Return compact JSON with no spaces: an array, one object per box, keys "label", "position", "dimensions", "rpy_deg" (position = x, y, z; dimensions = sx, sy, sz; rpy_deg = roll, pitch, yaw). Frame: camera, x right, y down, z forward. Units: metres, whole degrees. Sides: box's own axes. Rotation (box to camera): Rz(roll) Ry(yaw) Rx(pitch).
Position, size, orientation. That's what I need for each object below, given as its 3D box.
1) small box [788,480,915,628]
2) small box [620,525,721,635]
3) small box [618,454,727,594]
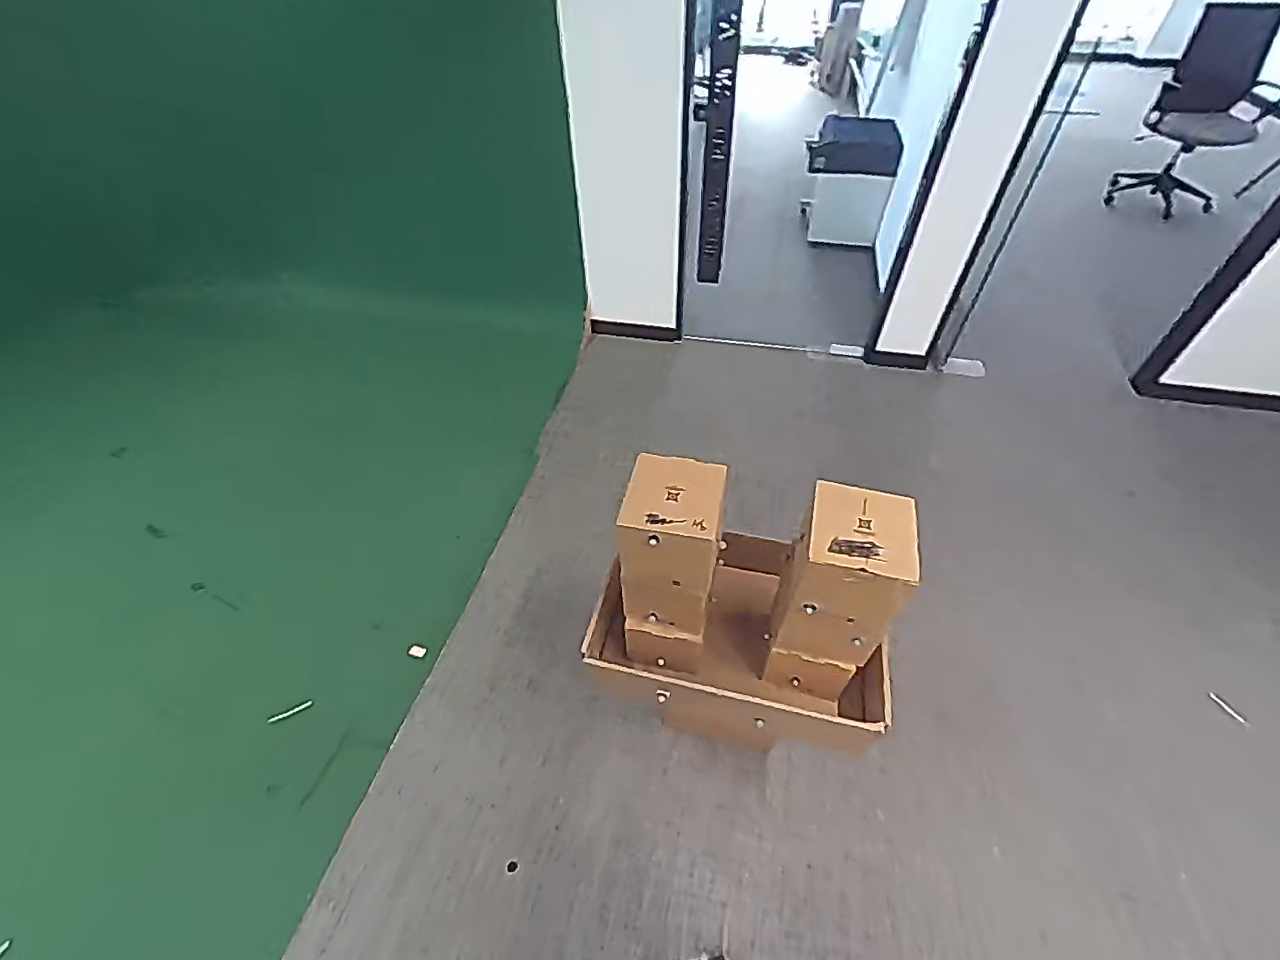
[{"label":"small box","position":[0.360,0.132,0.939],"dimensions":[0.168,0.176,0.179],"rpy_deg":[12,49,11]},{"label":"small box","position":[0.064,0.189,1.118],"dimensions":[0.168,0.176,0.179],"rpy_deg":[11,49,13]},{"label":"small box","position":[0.060,0.080,0.996],"dimensions":[0.168,0.176,0.179],"rpy_deg":[8,47,10]}]
